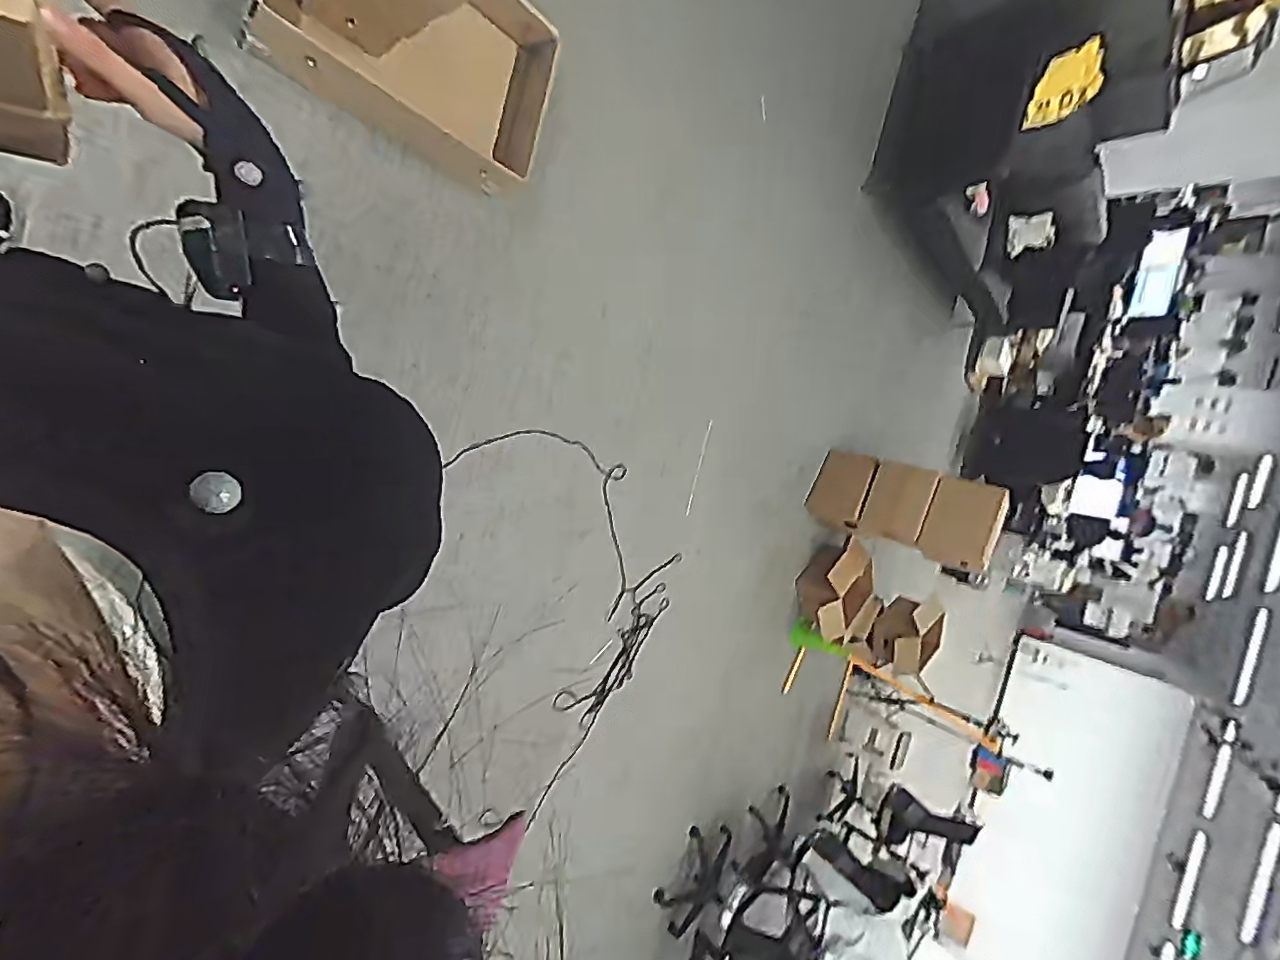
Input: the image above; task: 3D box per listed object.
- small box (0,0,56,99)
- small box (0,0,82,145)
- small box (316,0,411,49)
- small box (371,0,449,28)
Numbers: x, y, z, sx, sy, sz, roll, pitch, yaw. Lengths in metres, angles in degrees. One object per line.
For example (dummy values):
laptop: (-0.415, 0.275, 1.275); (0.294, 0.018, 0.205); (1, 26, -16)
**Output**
small box: (-0.376, -0.299, 0.221); (0.168, 0.176, 0.179); (-10, 110, -42)
small box: (-0.486, -0.334, 0.338); (0.179, 0.176, 0.168); (-8, 109, -43)
small box: (-0.571, -1.063, 1.133); (0.168, 0.176, 0.179); (8, 97, -47)
small box: (-0.462, -1.013, 1.023); (0.179, 0.176, 0.168); (9, 98, -47)
